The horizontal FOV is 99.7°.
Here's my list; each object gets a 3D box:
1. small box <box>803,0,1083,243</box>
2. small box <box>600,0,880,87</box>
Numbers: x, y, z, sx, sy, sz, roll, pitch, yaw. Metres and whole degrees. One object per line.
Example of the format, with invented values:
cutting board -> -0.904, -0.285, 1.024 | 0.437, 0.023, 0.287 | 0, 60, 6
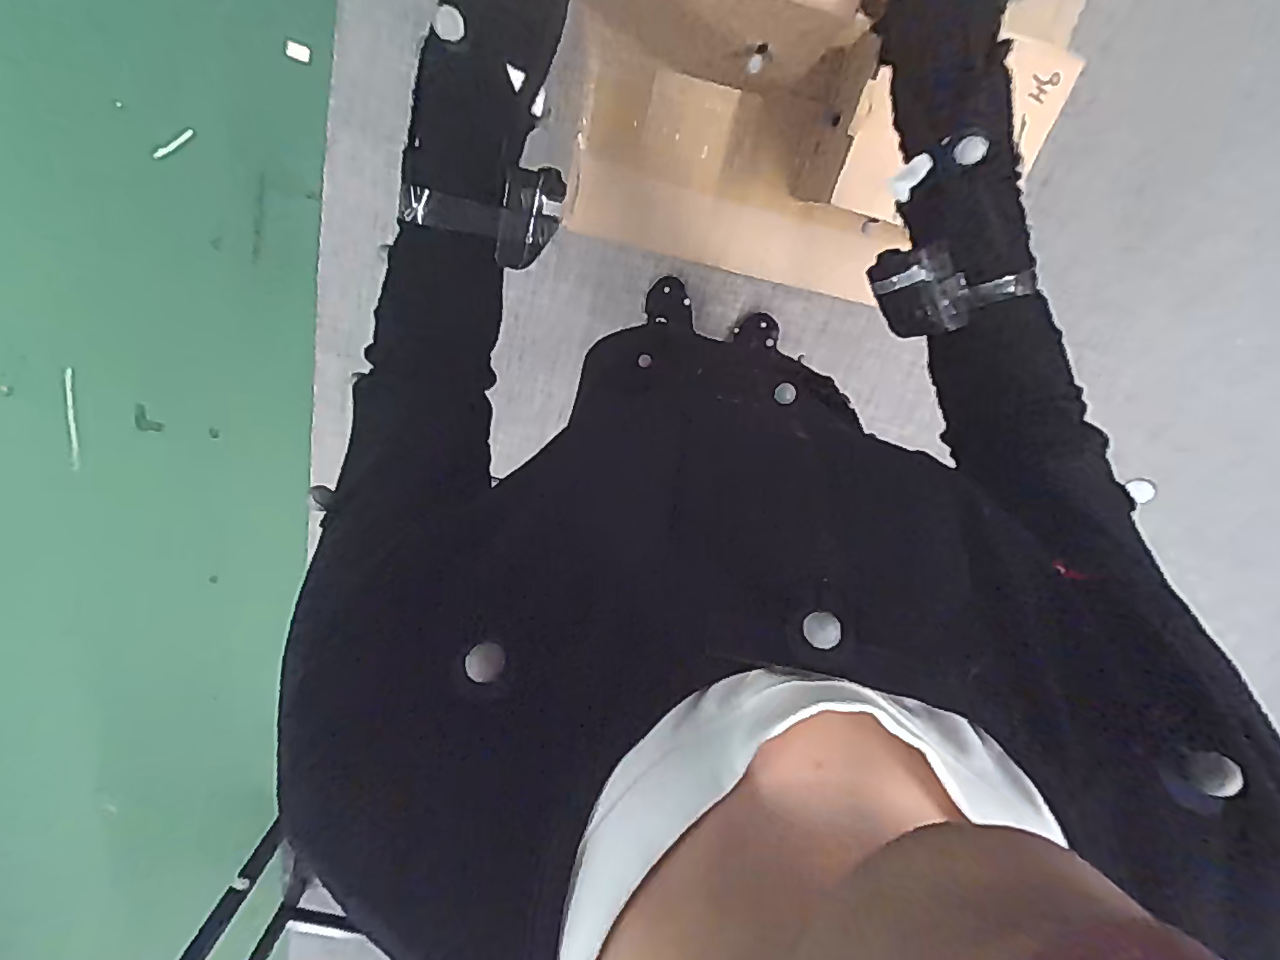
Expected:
small box -> 0.296, -0.366, 0.581 | 0.179, 0.176, 0.168 | 15, 117, -3
small box -> 0.070, -0.397, 0.363 | 0.179, 0.176, 0.168 | 10, 108, -5
